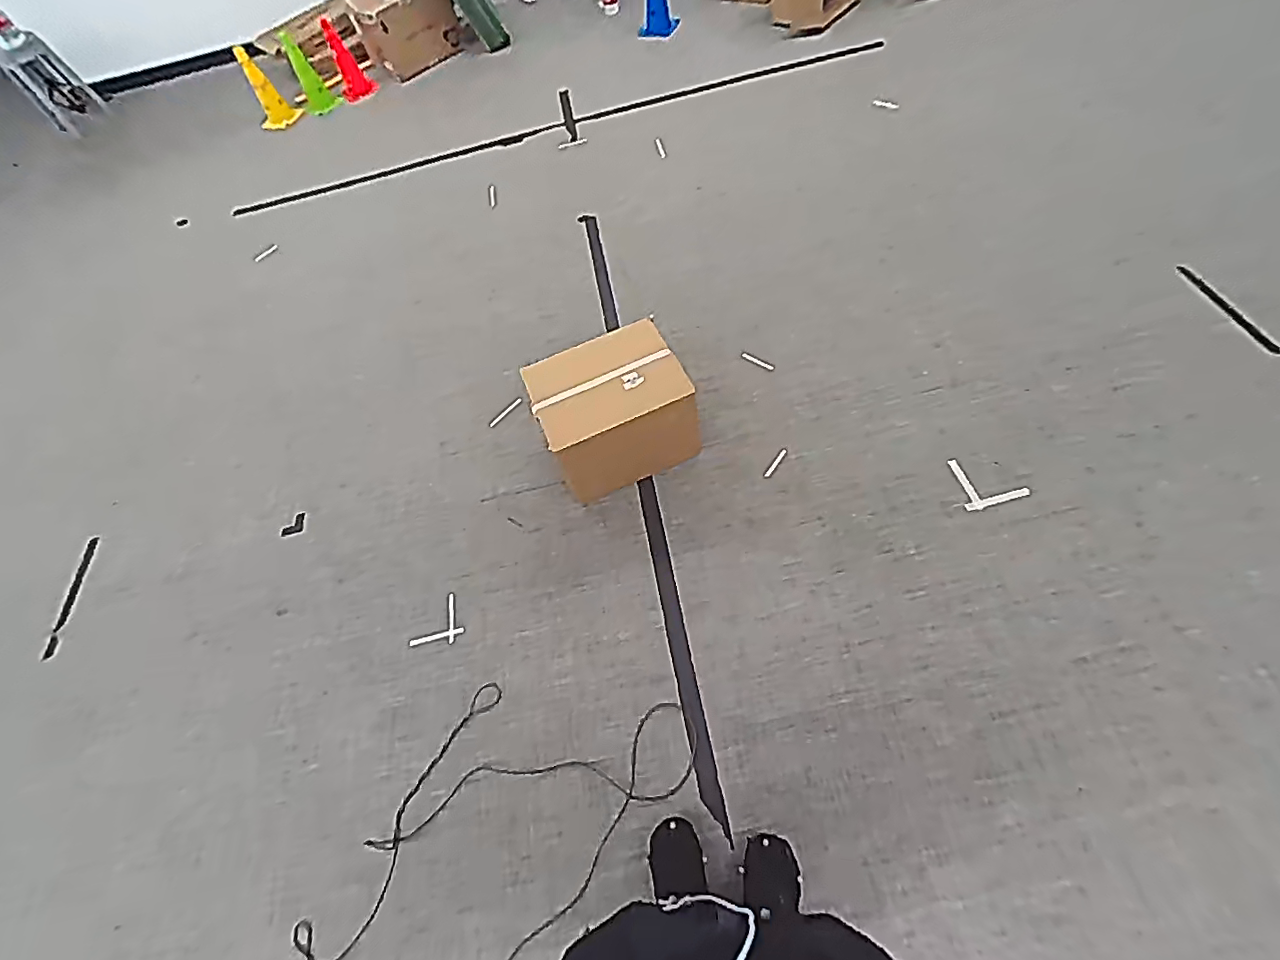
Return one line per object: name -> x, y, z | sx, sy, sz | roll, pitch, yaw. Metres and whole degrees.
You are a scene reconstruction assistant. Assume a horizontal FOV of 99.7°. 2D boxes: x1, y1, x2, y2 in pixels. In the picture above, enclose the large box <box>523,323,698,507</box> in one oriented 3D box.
large box -> -0.075, -0.183, 1.586 | 0.408, 0.320, 0.320 | -23, 60, -6
